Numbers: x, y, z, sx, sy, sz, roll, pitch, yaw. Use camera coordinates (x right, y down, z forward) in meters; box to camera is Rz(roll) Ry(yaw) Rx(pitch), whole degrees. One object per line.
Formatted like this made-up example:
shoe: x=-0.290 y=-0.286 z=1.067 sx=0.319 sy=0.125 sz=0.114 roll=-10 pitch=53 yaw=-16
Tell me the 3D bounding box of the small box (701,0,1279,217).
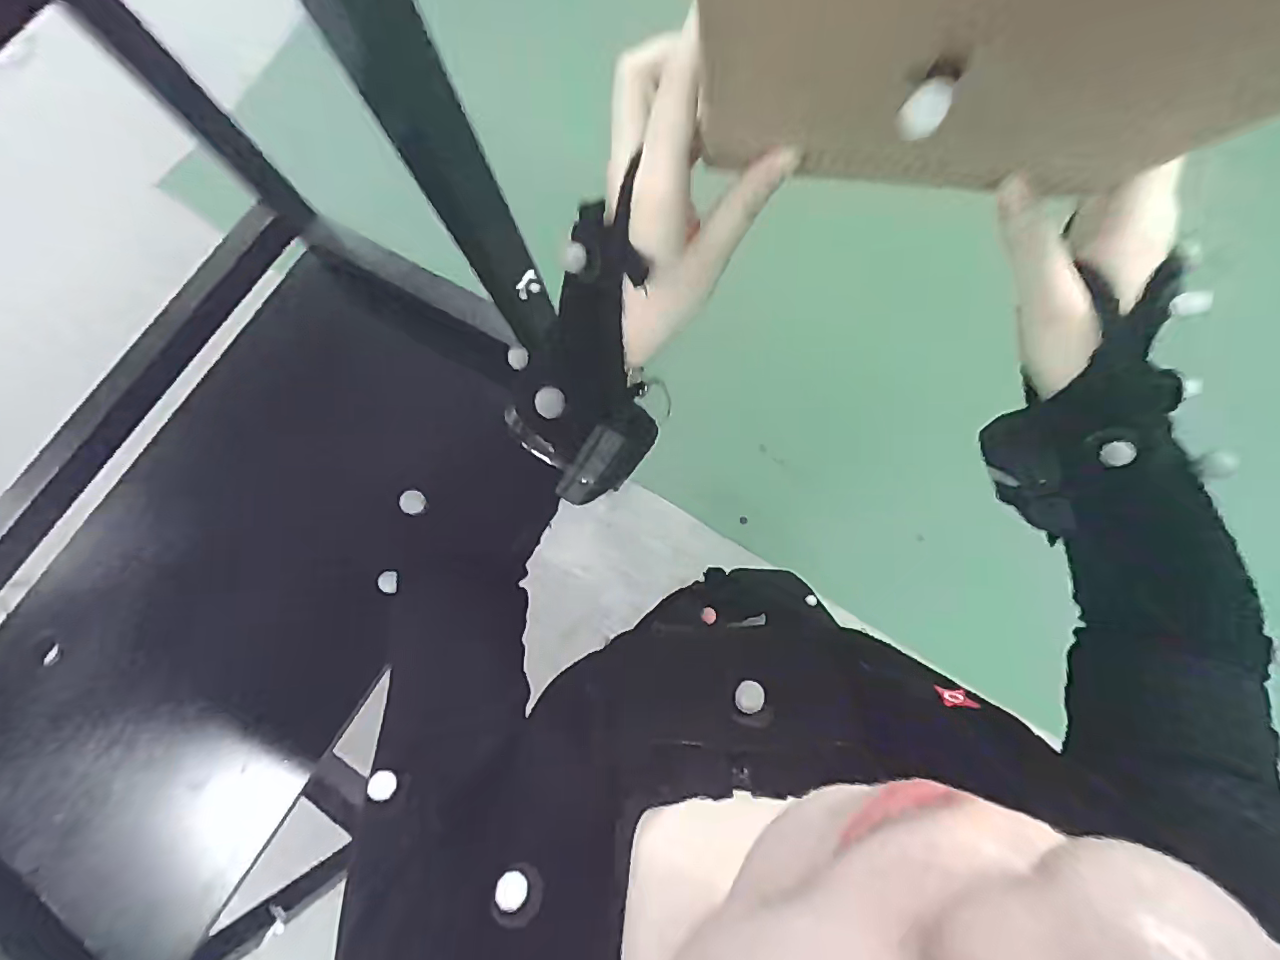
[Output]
small box: x=0.115 y=-0.194 z=0.170 sx=0.179 sy=0.176 sz=0.168 roll=9 pitch=105 yaw=7
